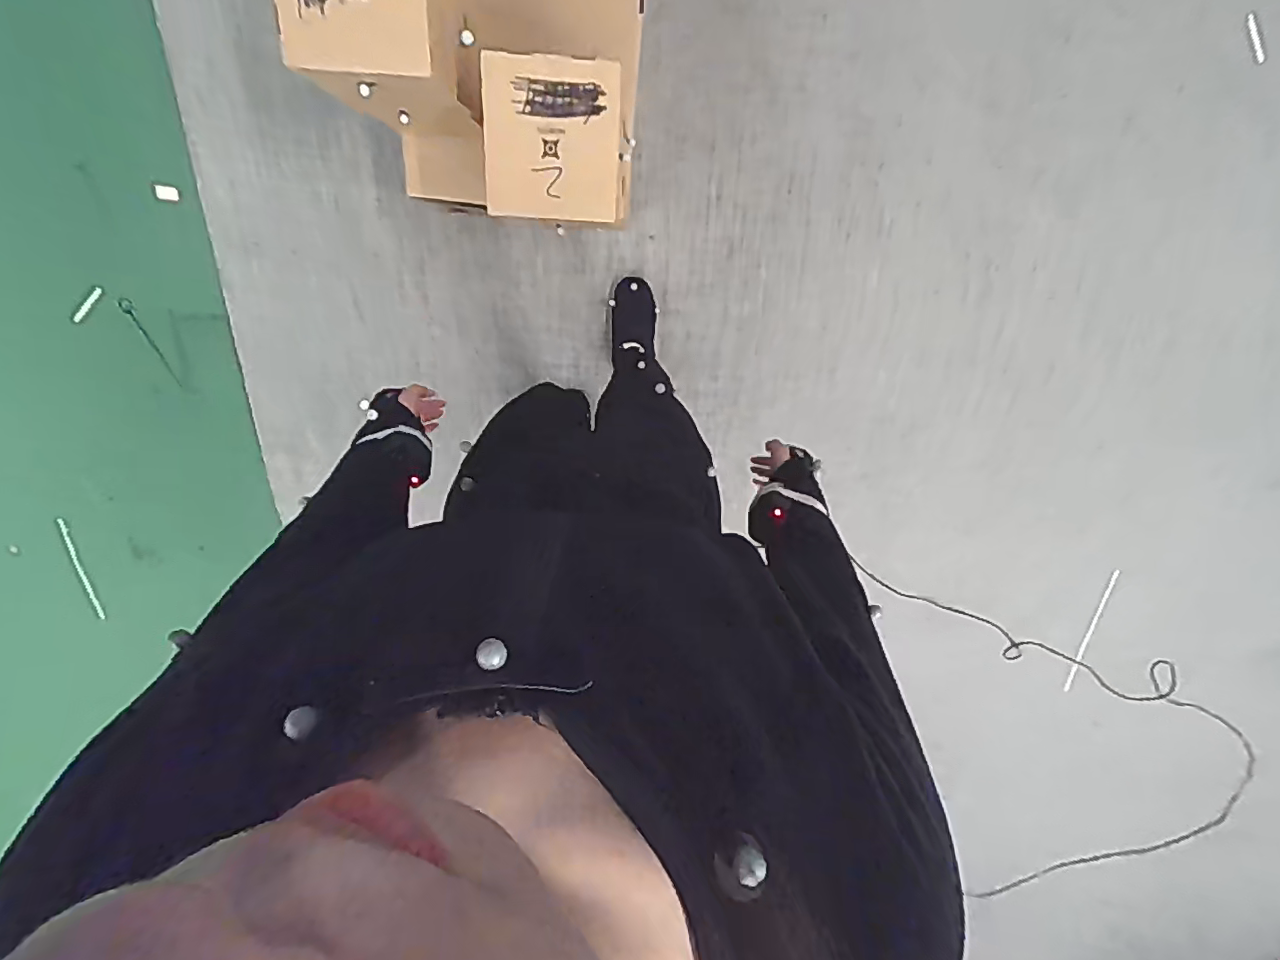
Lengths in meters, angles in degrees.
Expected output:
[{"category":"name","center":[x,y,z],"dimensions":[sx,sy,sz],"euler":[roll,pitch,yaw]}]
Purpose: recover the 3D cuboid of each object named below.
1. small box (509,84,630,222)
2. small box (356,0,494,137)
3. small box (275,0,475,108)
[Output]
[{"category":"small box","center":[-0.107,-0.518,0.878],"dimensions":[0.179,0.176,0.168],"euler":[2,112,-1]},{"category":"small box","center":[-0.324,-0.649,0.823],"dimensions":[0.168,0.176,0.179],"euler":[4,112,-1]},{"category":"small box","center":[-0.319,-0.581,0.671],"dimensions":[0.179,0.176,0.168],"euler":[4,113,0]}]
